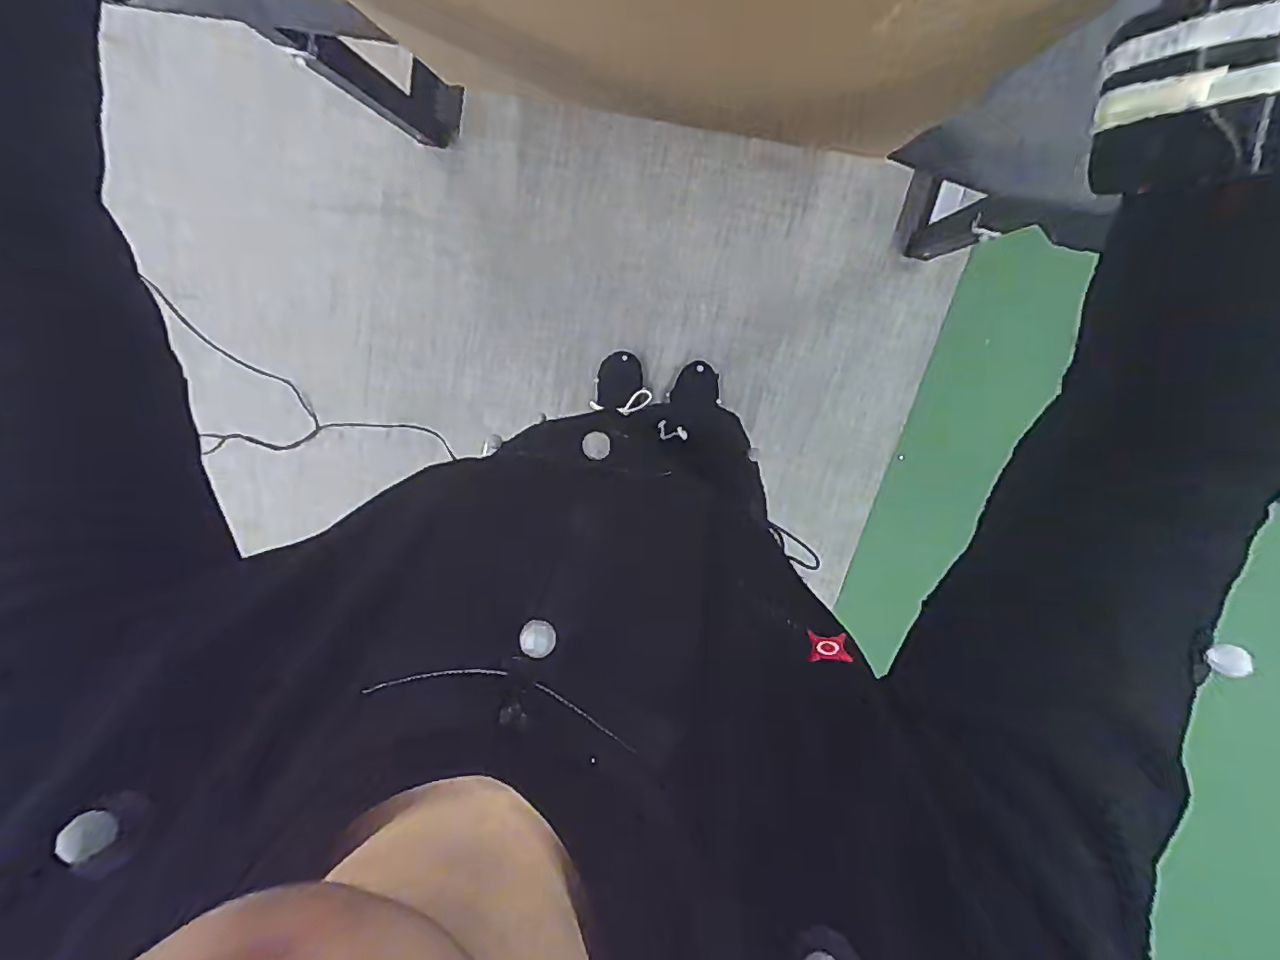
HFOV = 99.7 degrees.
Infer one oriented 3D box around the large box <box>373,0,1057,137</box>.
[{"bbox_3d":[0.033,-0.425,0.293,0.408,0.320,0.320,9,110,1],"label":"large box"}]
